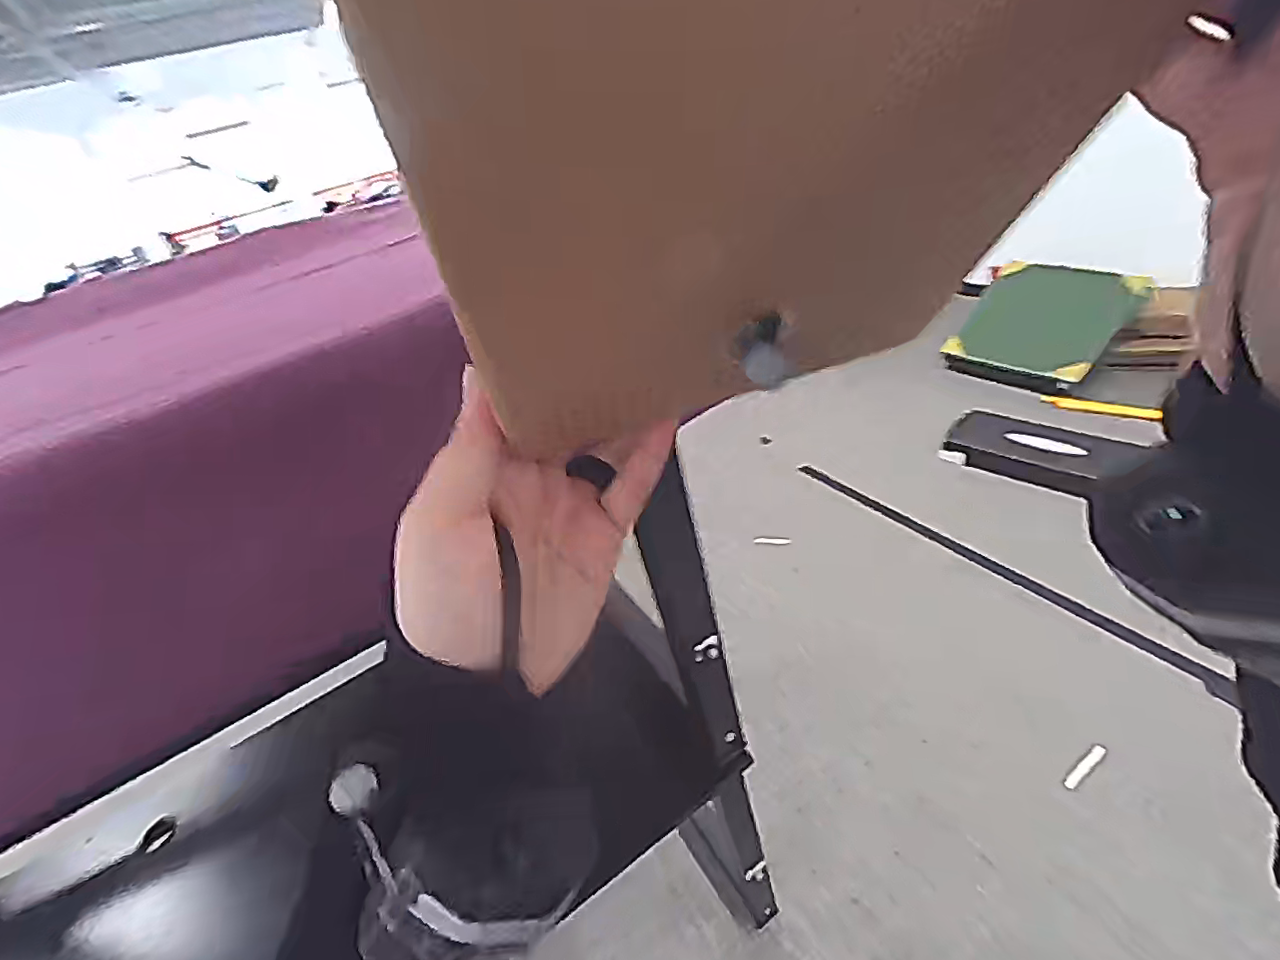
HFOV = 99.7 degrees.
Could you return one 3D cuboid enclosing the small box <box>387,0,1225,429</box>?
[{"bbox_3d":[0.021,-0.138,0.158,0.179,0.176,0.168,-18,70,-10],"label":"small box"}]
